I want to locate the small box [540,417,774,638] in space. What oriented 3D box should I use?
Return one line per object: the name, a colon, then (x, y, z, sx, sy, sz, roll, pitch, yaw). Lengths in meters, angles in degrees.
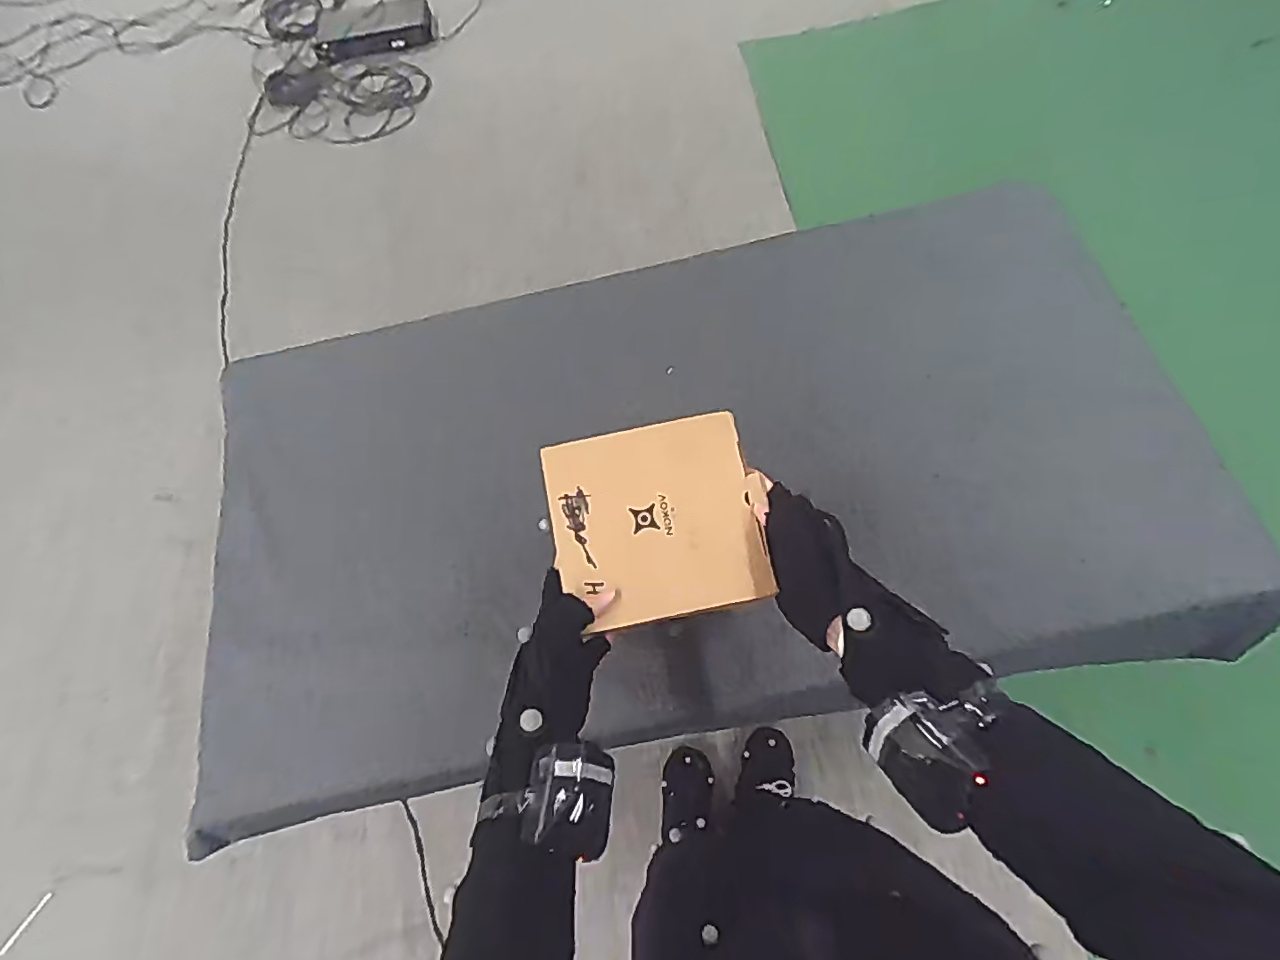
small box: (0.012, 0.055, 0.533, 0.179, 0.176, 0.168, -11, 75, -1)
